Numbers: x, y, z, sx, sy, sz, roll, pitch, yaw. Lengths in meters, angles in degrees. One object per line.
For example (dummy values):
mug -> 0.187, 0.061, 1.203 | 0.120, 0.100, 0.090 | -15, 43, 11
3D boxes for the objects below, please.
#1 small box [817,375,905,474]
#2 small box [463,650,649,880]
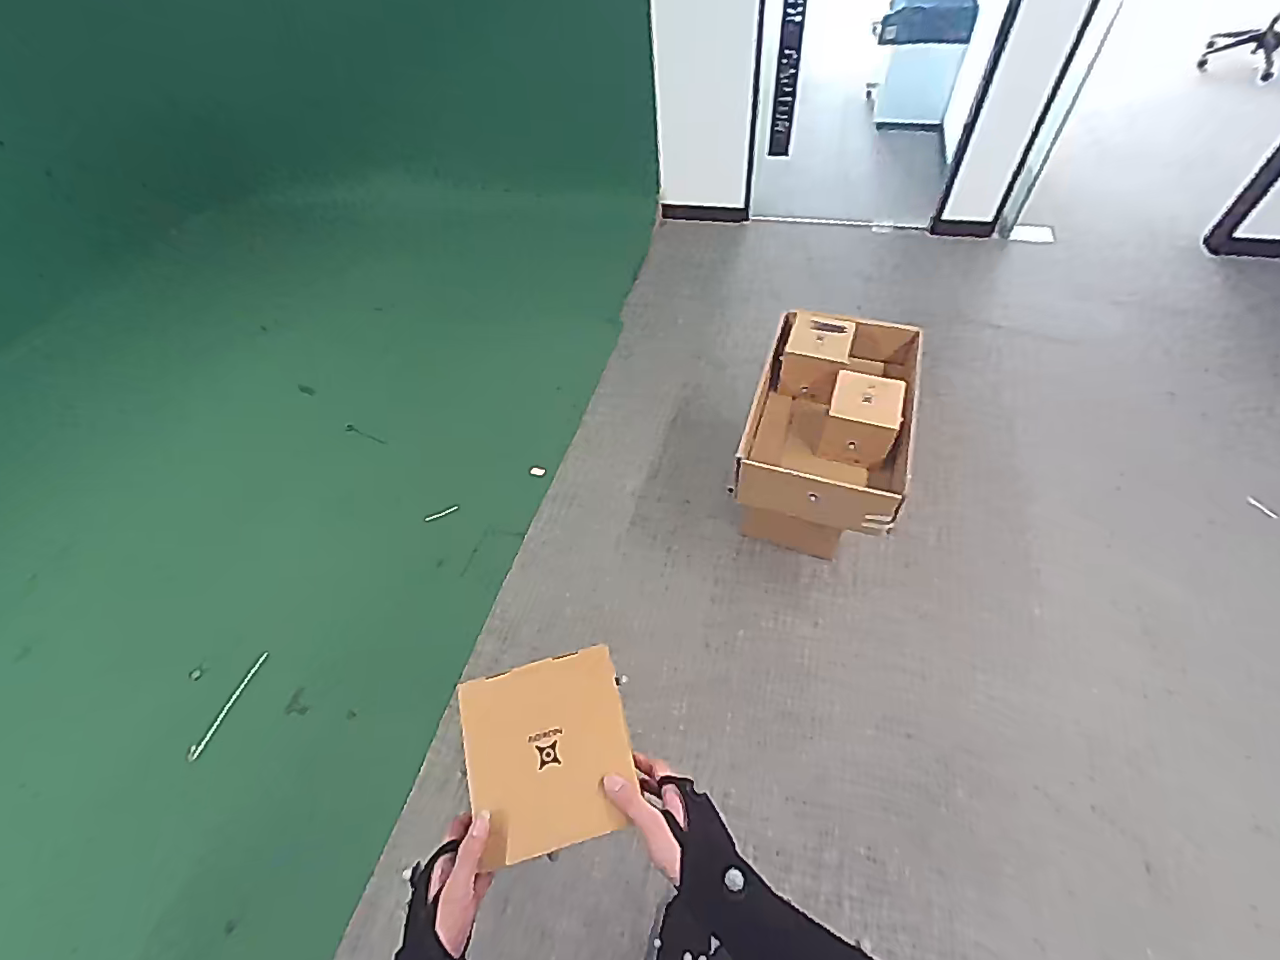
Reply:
small box -> 0.571, -0.142, 1.411 | 0.168, 0.176, 0.179 | 16, 57, 15
small box -> -0.087, 0.312, 0.611 | 0.168, 0.176, 0.179 | -13, 62, -7
